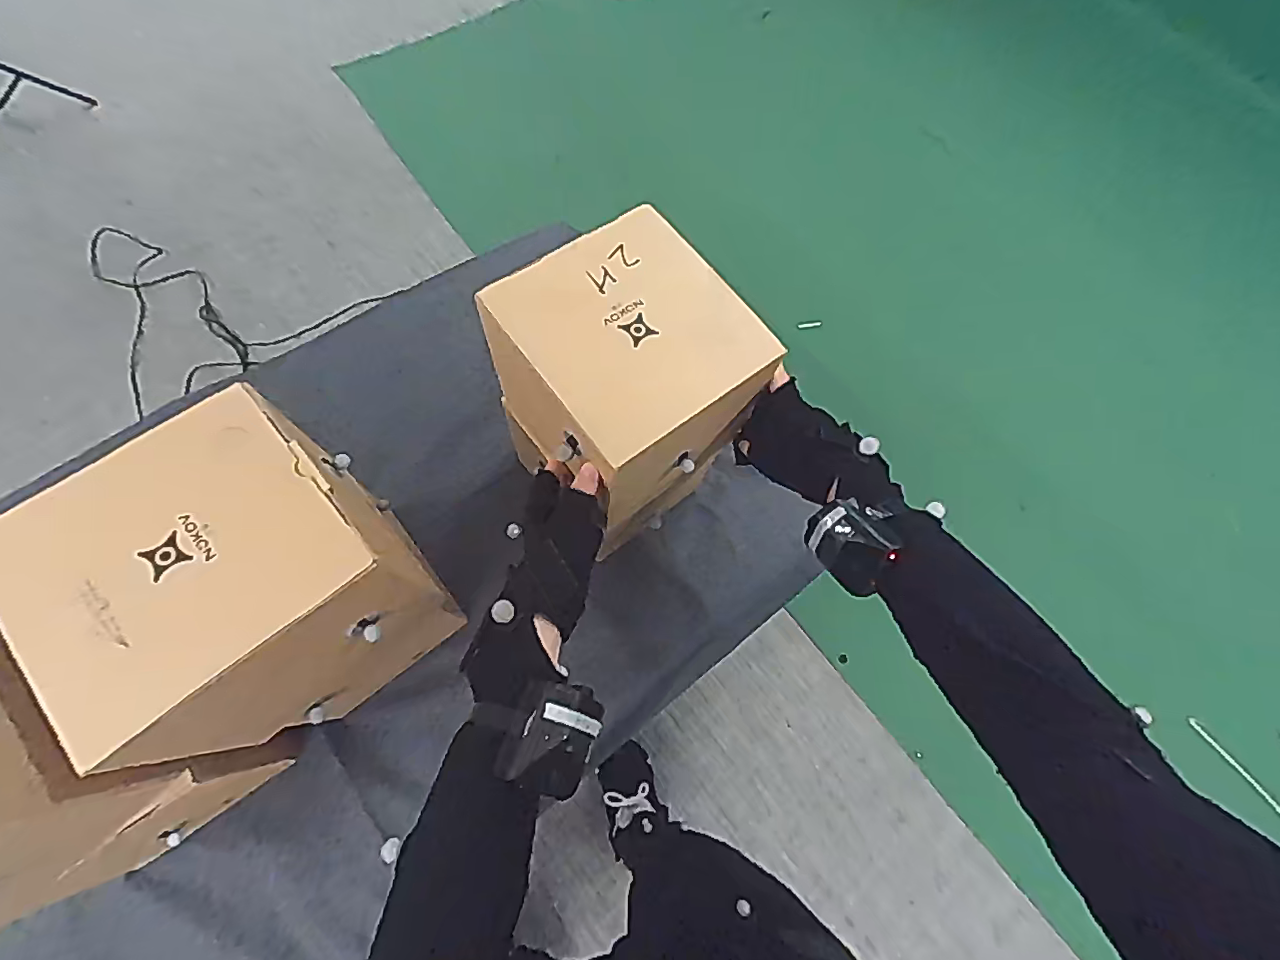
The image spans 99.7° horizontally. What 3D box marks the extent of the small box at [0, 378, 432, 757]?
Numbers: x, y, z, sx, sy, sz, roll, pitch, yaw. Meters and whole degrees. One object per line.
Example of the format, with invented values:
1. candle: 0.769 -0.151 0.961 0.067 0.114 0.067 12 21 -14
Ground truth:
1. small box: -0.279 0.065 0.400 0.179 0.176 0.168 -39 77 -16

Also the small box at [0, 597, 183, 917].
1. small box: -0.457 0.190 0.338 0.179 0.176 0.168 -42 80 -17

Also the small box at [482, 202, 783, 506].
1. small box: -0.011 -0.094 0.481 0.168 0.176 0.179 -35 76 -16
